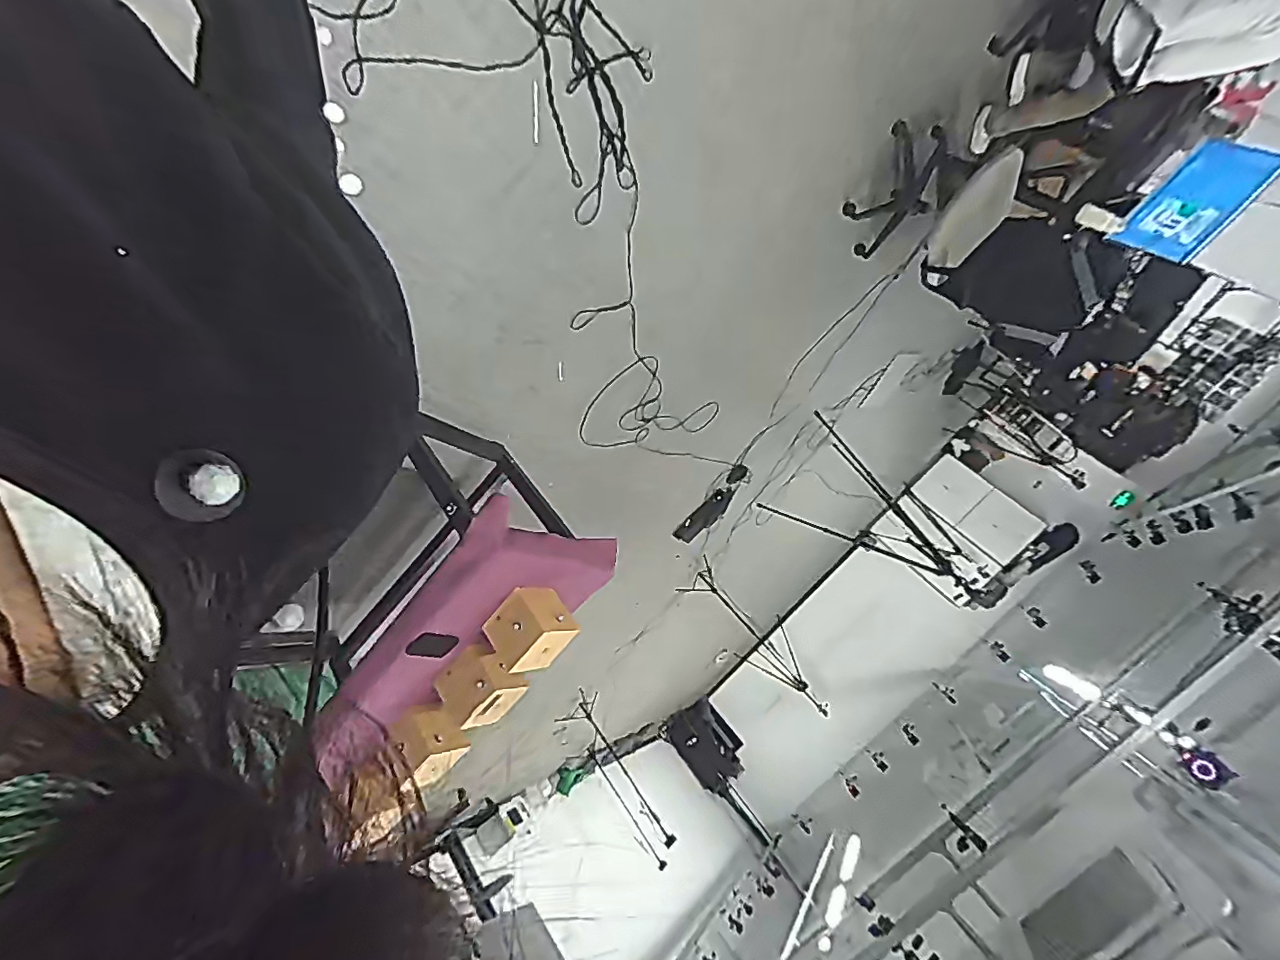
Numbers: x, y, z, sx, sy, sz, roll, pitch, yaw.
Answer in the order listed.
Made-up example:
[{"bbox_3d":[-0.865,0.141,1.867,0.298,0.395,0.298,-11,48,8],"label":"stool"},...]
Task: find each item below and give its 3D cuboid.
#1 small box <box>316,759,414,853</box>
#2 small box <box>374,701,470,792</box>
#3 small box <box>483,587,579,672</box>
[{"bbox_3d":[-0.837,0.978,1.647,0.168,0.176,0.179,-46,152,3],"label":"small box"},{"bbox_3d":[-0.657,0.791,1.624,0.168,0.176,0.179,-46,152,5],"label":"small box"},{"bbox_3d":[-0.319,0.426,1.565,0.168,0.176,0.179,-49,152,10],"label":"small box"}]
